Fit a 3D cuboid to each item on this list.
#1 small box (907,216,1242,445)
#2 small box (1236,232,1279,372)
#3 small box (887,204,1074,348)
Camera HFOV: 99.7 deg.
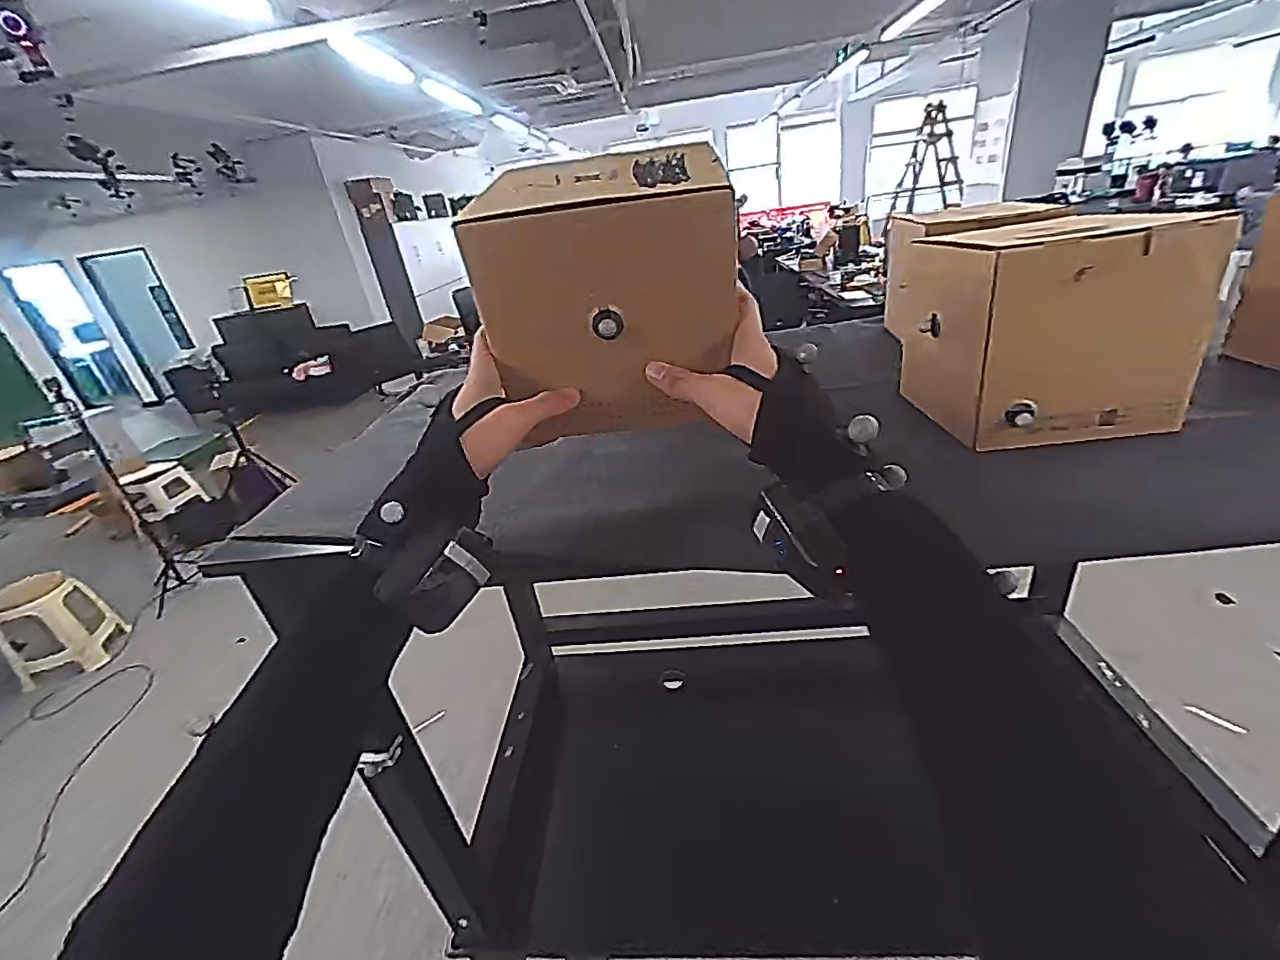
[{"bbox_3d":[0.365,-0.136,0.499,0.168,0.176,0.179,-6,25,7],"label":"small box"},{"bbox_3d":[0.702,-0.173,0.471,0.168,0.176,0.179,-7,26,6],"label":"small box"},{"bbox_3d":[0.459,-0.281,0.761,0.168,0.176,0.179,-2,27,10],"label":"small box"}]
